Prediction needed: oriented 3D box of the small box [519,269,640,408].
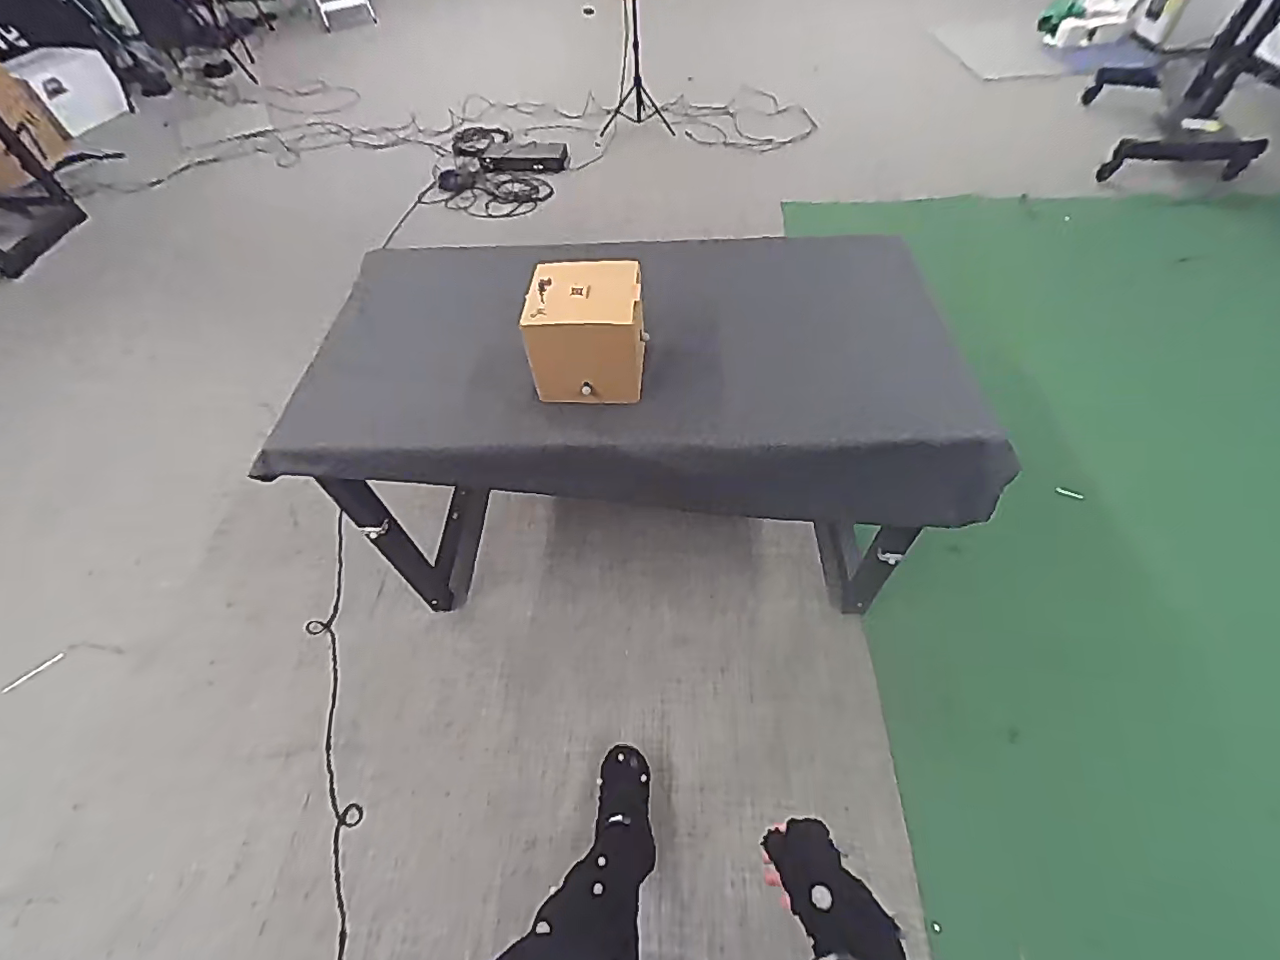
[{"bbox_3d":[-0.091,-0.238,0.927,0.179,0.176,0.168,1,53,4],"label":"small box"}]
